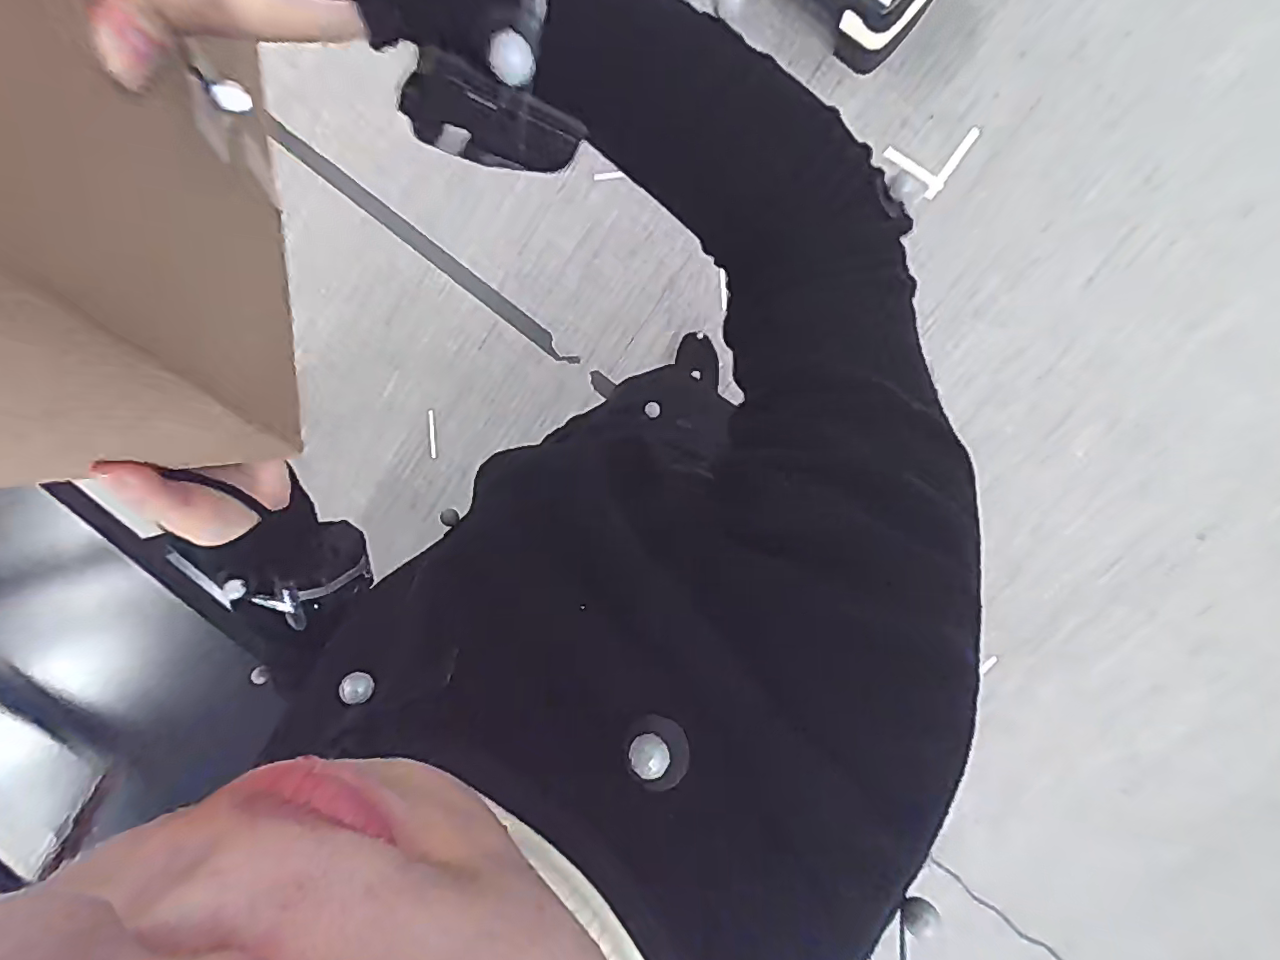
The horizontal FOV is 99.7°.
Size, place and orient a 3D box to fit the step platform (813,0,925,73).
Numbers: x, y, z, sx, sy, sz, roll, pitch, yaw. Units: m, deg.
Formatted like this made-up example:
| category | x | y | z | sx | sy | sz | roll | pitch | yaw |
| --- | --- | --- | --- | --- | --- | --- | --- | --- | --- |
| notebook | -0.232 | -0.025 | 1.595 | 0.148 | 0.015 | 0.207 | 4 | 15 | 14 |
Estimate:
| category | x | y | z | sx | sy | sz | roll | pitch | yaw |
| --- | --- | --- | --- | --- | --- | --- | --- | --- | --- |
| step platform | 0.332 | -1.239 | 1.136 | 0.684 | 0.204 | 0.286 | 44 | 103 | 1 |
